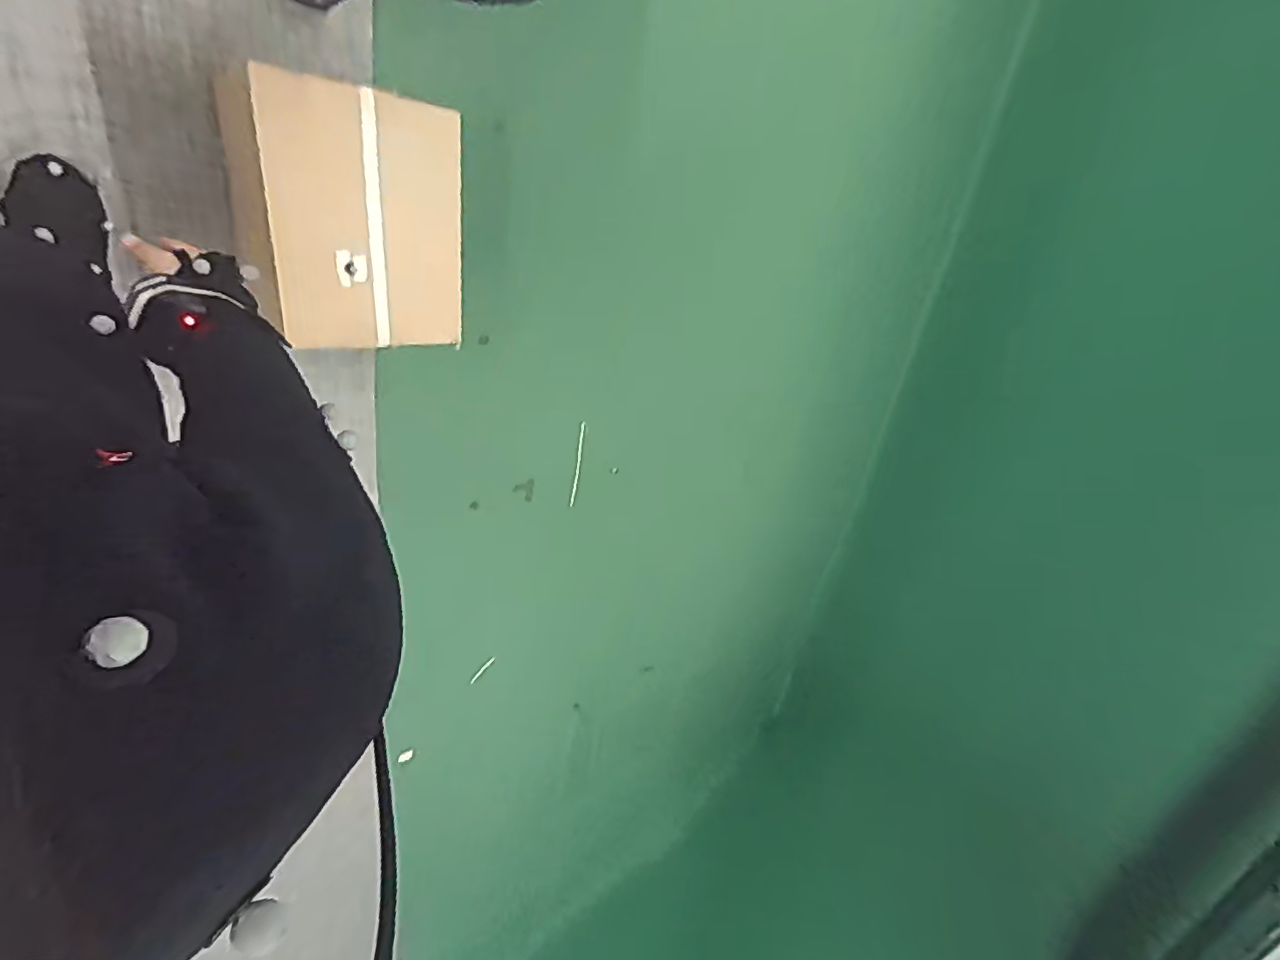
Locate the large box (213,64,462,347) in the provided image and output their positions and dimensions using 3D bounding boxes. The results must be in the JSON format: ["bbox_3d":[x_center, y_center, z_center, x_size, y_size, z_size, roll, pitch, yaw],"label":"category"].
[{"bbox_3d":[-0.552,-0.493,1.019,0.320,0.320,0.408,-15,124,-40],"label":"large box"}]
